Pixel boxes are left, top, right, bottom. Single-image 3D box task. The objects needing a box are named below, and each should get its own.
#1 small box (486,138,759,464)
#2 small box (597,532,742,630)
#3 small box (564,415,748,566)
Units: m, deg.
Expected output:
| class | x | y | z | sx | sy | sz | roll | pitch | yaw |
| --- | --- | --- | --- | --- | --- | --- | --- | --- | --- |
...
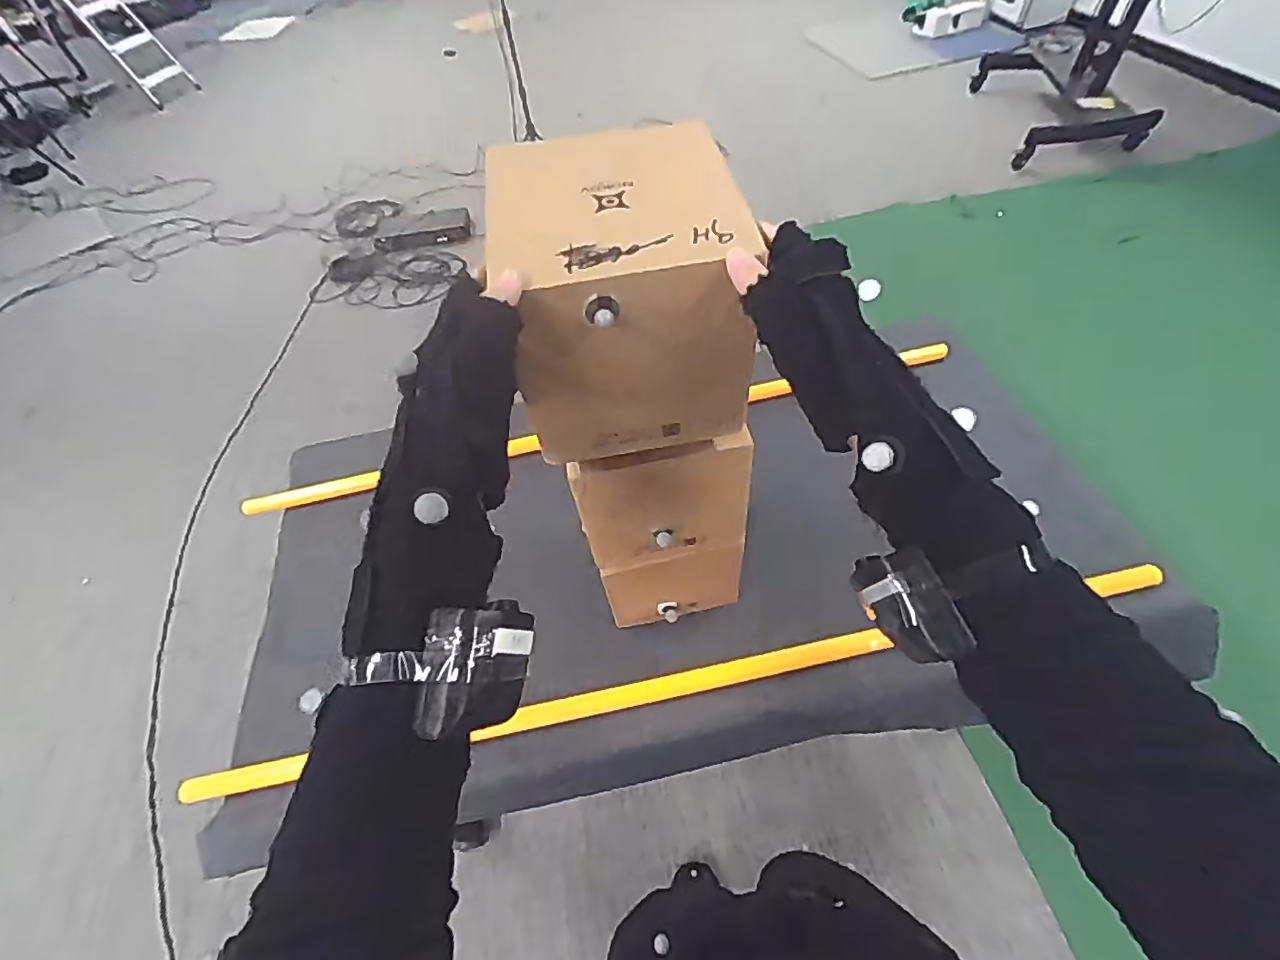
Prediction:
| class | x | y | z | sx | sy | sz | roll | pitch | yaw |
| --- | --- | --- | --- | --- | --- | --- | --- | --- | --- |
| small box | -0.016 | -0.138 | 0.431 | 0.168 | 0.176 | 0.179 | -9 | 55 | -2 |
| small box | 0.026 | 0.071 | 0.713 | 0.168 | 0.176 | 0.179 | -14 | 54 | -3 |
| small box | 0.011 | -0.031 | 0.585 | 0.168 | 0.176 | 0.179 | -10 | 53 | 0 |
